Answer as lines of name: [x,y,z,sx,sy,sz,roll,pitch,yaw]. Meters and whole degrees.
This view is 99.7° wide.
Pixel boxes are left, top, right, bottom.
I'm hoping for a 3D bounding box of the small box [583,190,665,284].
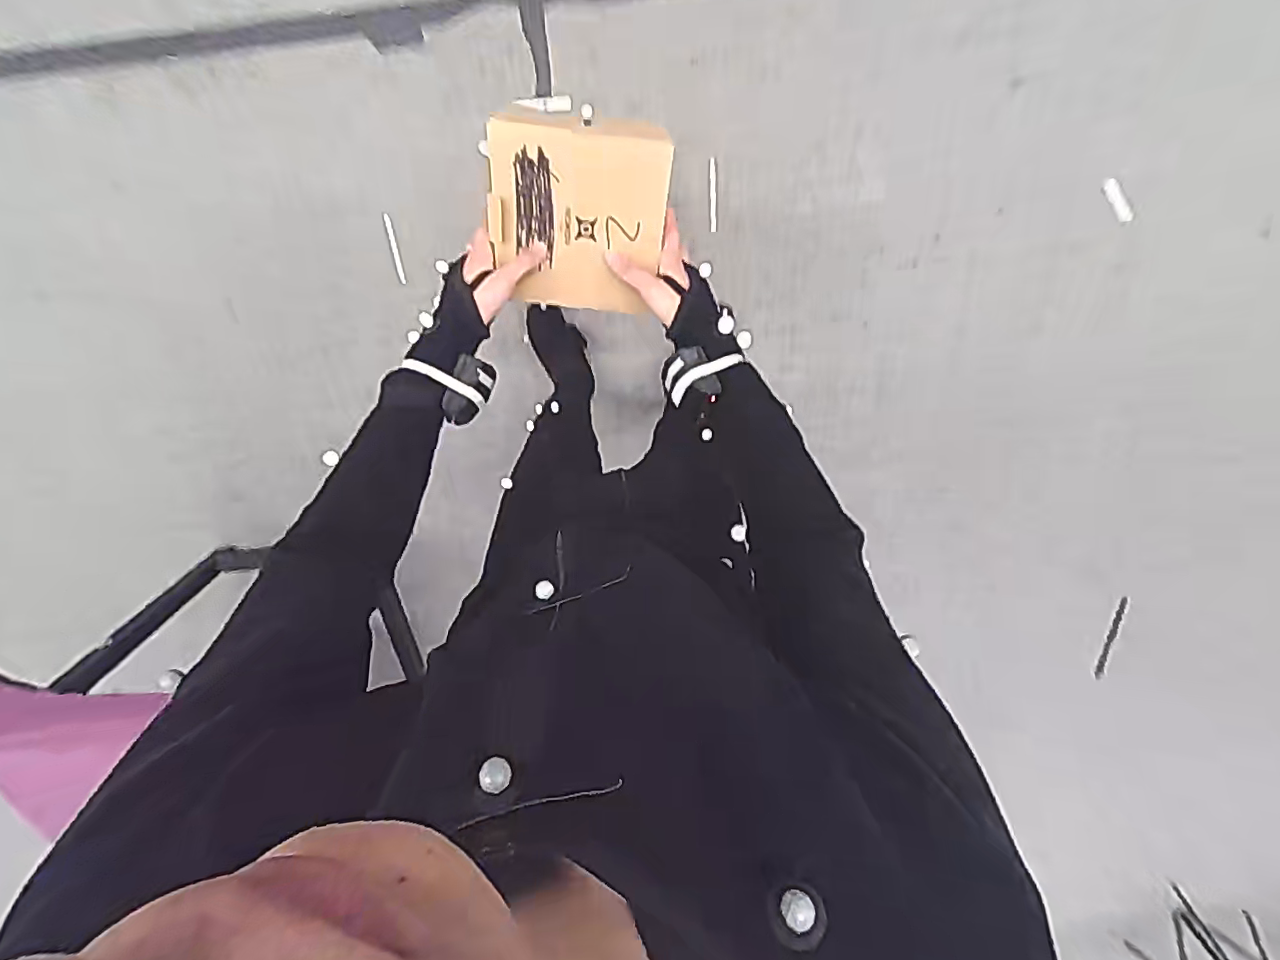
small box: [-0.033,-0.576,1.279,0.168,0.176,0.179,-9,116,2]
